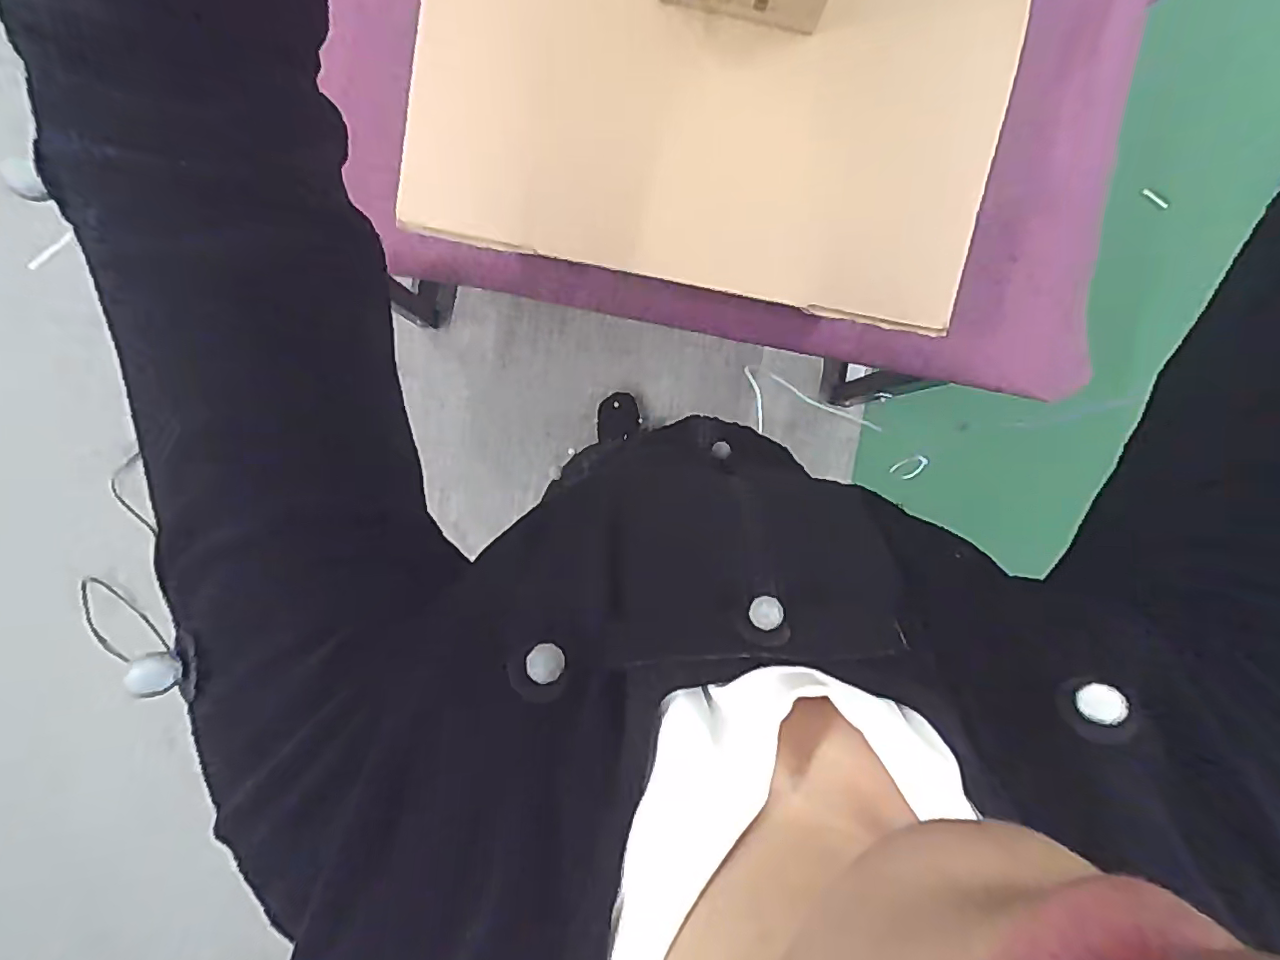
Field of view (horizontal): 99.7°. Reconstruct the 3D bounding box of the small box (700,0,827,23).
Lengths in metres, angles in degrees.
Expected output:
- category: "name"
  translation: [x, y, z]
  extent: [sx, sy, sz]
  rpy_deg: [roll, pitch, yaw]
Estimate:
- category: "small box"
  translation: [0.114, -0.548, 0.462]
  extent: [0.168, 0.176, 0.179]
  rpy_deg: [8, 92, -2]
